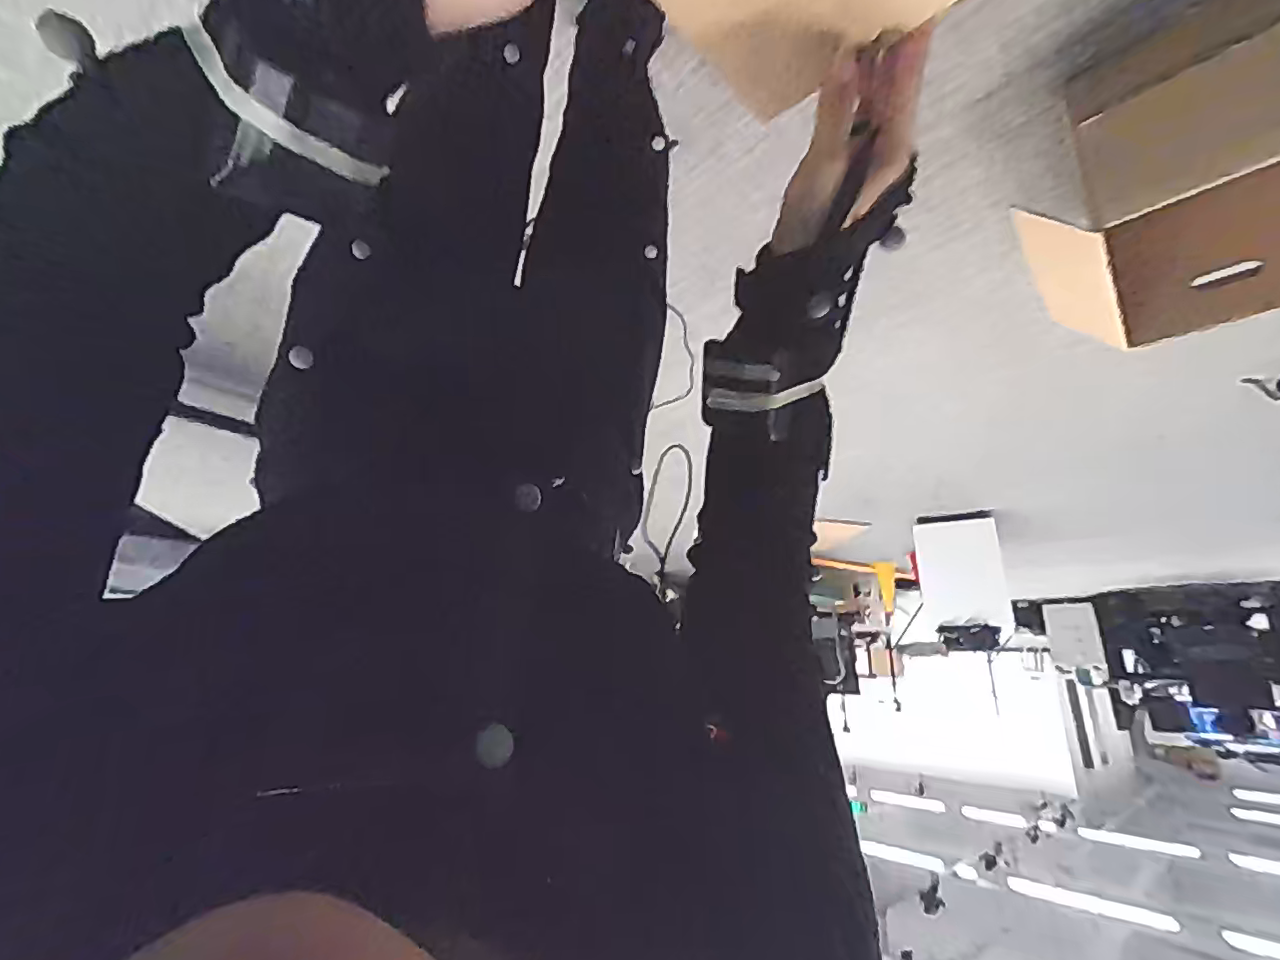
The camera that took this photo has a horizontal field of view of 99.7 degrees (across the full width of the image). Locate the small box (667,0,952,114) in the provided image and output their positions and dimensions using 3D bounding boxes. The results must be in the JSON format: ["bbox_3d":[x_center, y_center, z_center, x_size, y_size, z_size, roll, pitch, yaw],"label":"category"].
[{"bbox_3d":[0.086,-0.328,0.236,0.179,0.176,0.168,22,166,-38],"label":"small box"}]
